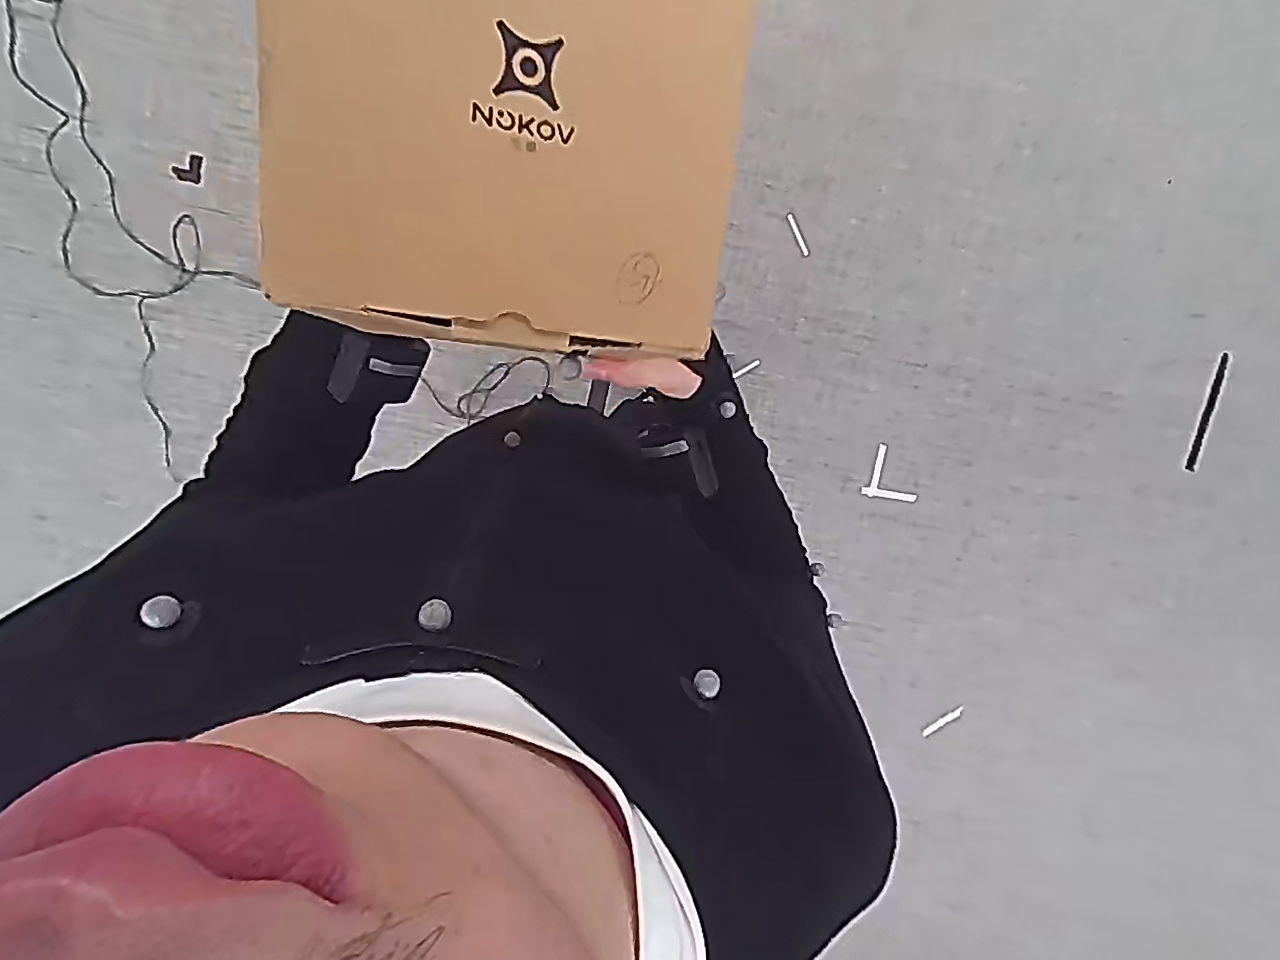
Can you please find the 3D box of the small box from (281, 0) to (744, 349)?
[{"bbox_3d":[-0.064,-0.164,0.278,0.168,0.176,0.179,2,101,-18],"label":"small box"}]
